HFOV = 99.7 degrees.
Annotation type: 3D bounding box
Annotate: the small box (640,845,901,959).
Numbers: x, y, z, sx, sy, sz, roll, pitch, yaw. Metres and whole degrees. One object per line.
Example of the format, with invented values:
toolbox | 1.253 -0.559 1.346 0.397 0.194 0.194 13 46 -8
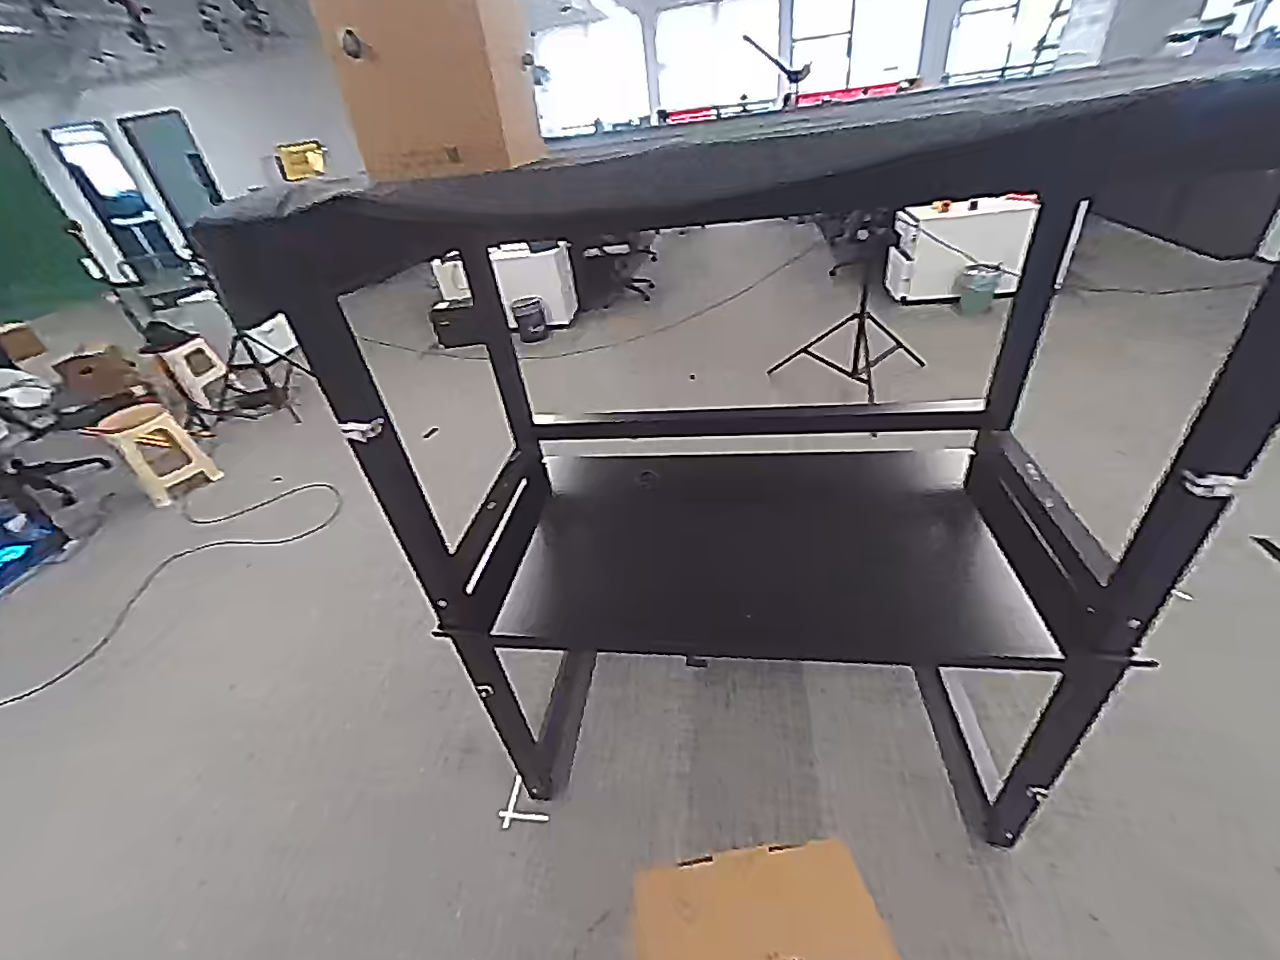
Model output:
small box | 0.091 0.396 0.368 0.168 0.176 0.179 -3 26 -8
